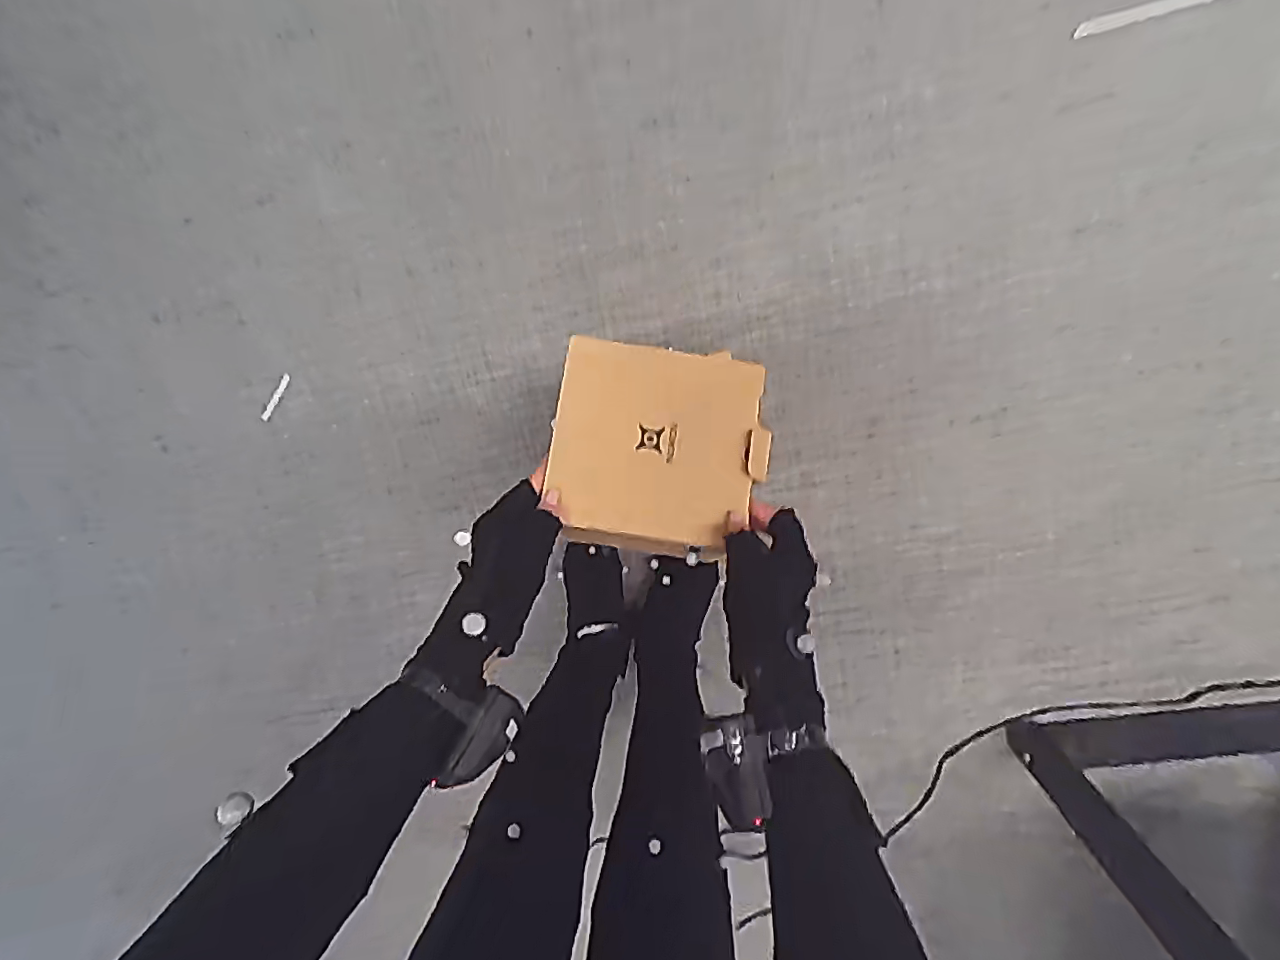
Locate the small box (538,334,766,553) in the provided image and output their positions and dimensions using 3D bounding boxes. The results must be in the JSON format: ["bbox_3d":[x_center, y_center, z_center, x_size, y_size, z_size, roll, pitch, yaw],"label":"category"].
[{"bbox_3d":[0.009,-0.022,0.537,0.179,0.176,0.168,9,80,-2],"label":"small box"}]
